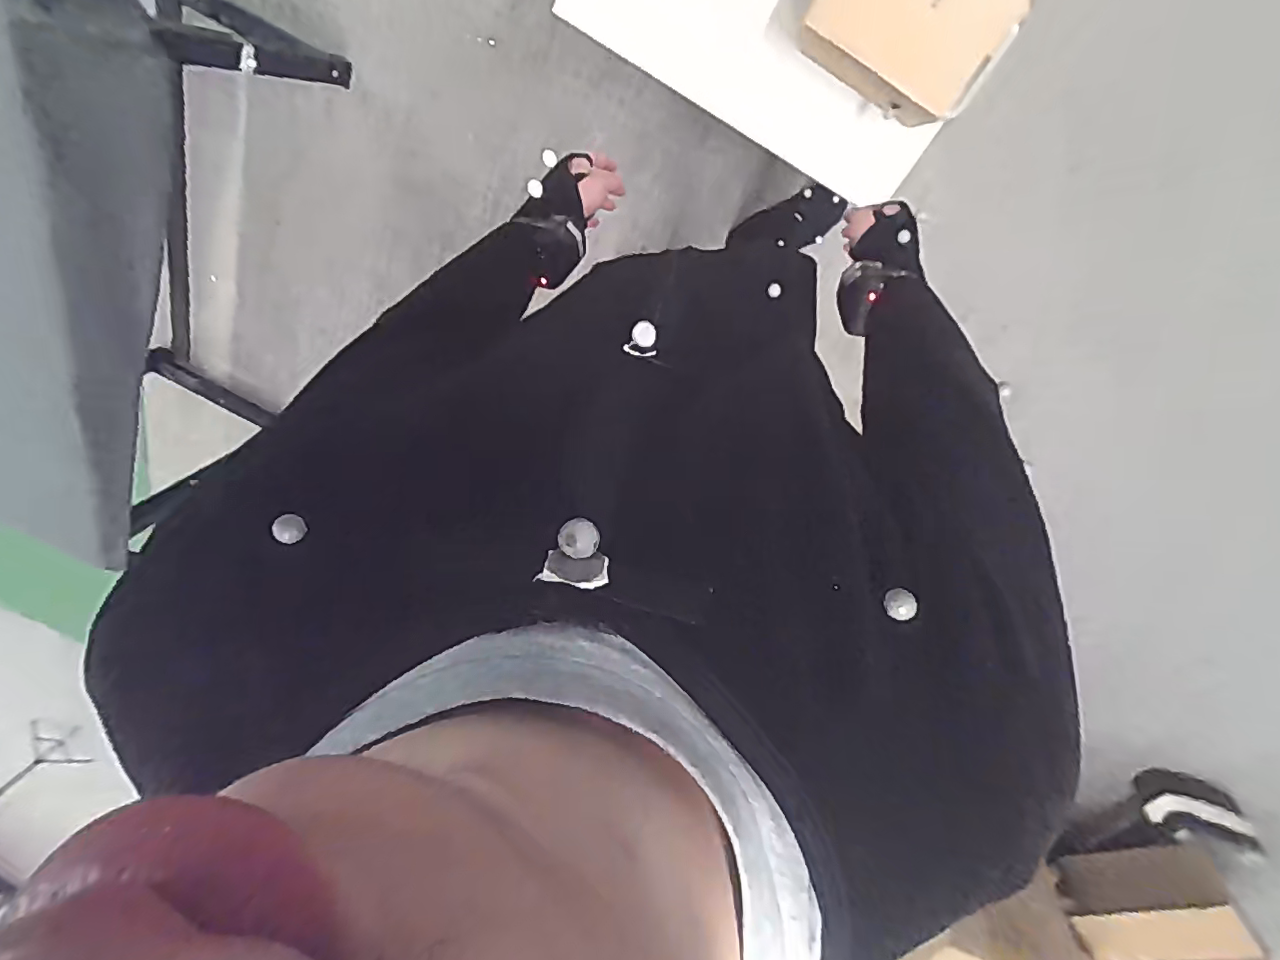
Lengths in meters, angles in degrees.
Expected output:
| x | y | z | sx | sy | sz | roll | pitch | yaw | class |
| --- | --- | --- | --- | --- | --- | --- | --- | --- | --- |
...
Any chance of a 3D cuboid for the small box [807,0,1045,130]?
| x | y | z | sx | sy | sz | roll | pitch | yaw | class |
| --- | --- | --- | --- | --- | --- | --- | --- | --- | --- |
| 0.297 | -0.498 | 0.567 | 0.179 | 0.176 | 0.168 | 31 | 121 | -4 | small box |
